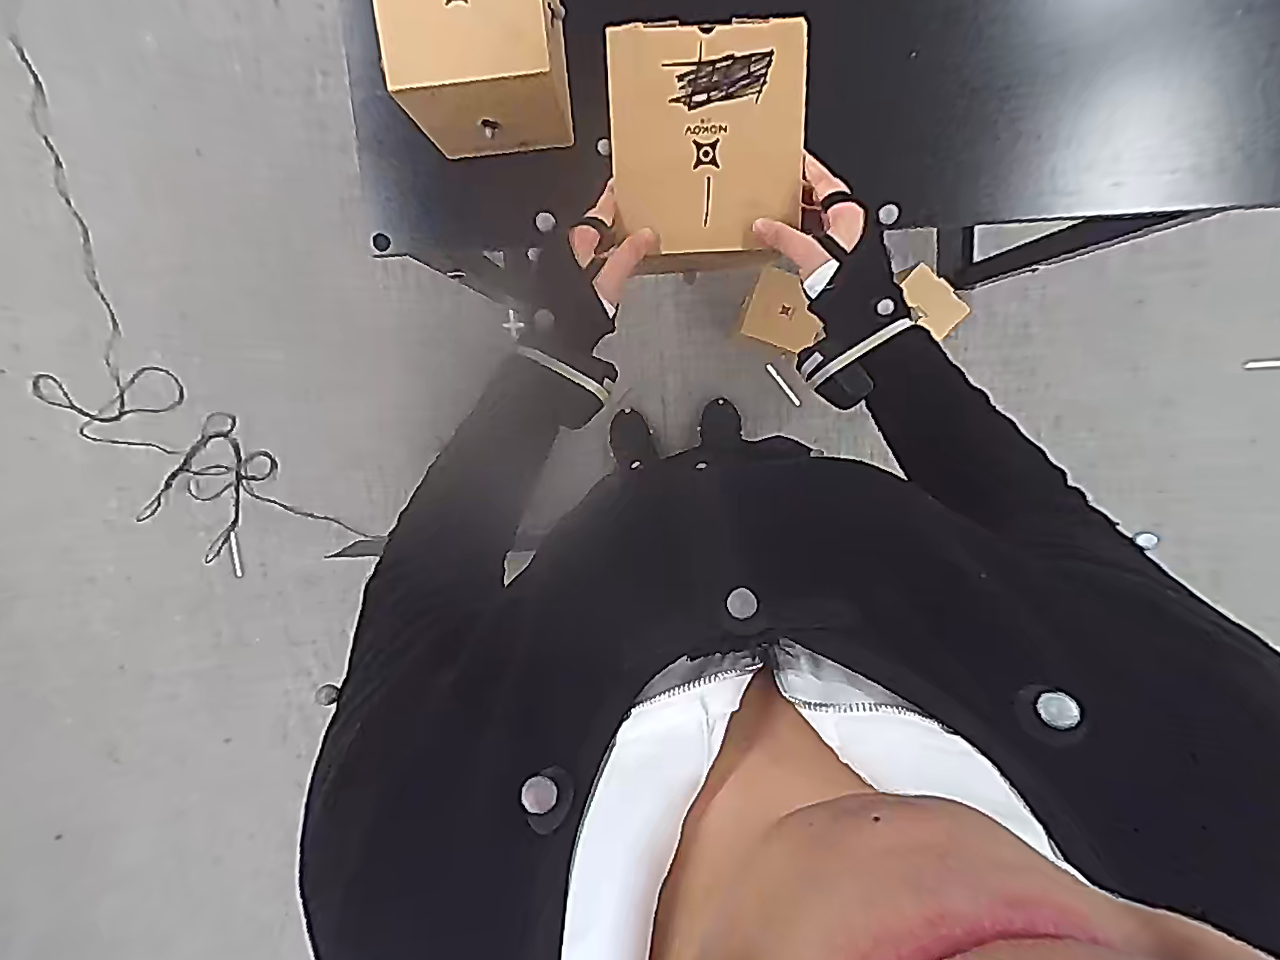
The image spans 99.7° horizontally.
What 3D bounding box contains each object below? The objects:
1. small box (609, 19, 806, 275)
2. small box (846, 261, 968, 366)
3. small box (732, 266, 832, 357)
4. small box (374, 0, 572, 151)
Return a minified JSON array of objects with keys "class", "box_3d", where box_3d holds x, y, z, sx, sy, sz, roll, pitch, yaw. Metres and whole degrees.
[{"class":"small box","box_3d":[0.056,-0.308,0.537,0.168,0.176,0.179,-3,106,1]},{"class":"small box","box_3d":[0.646,-0.401,1.333,0.168,0.176,0.179,40,99,-5]},{"class":"small box","box_3d":[0.343,-0.409,1.343,0.179,0.176,0.168,18,99,-1]},{"class":"small box","box_3d":[-0.175,-0.490,0.599,0.168,0.176,0.179,-5,100,2]}]
